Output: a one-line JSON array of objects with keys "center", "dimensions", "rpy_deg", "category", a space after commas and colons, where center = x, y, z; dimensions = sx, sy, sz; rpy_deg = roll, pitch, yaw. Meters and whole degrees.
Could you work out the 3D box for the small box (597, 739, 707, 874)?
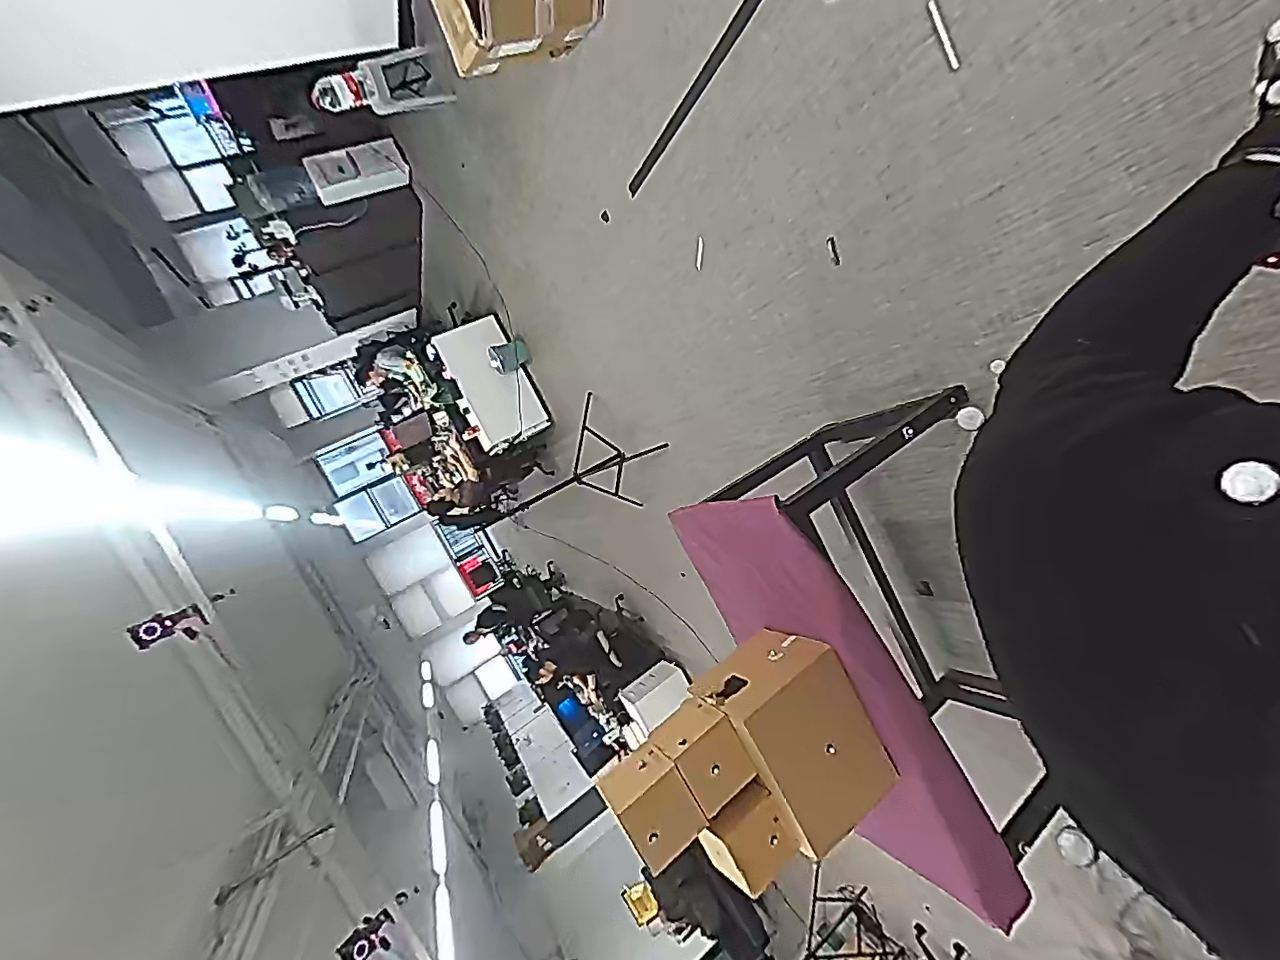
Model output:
[{"center": [0.030, 0.765, 1.287], "dimensions": [0.179, 0.176, 0.168], "rpy_deg": [61, 159, -7], "category": "small box"}]
